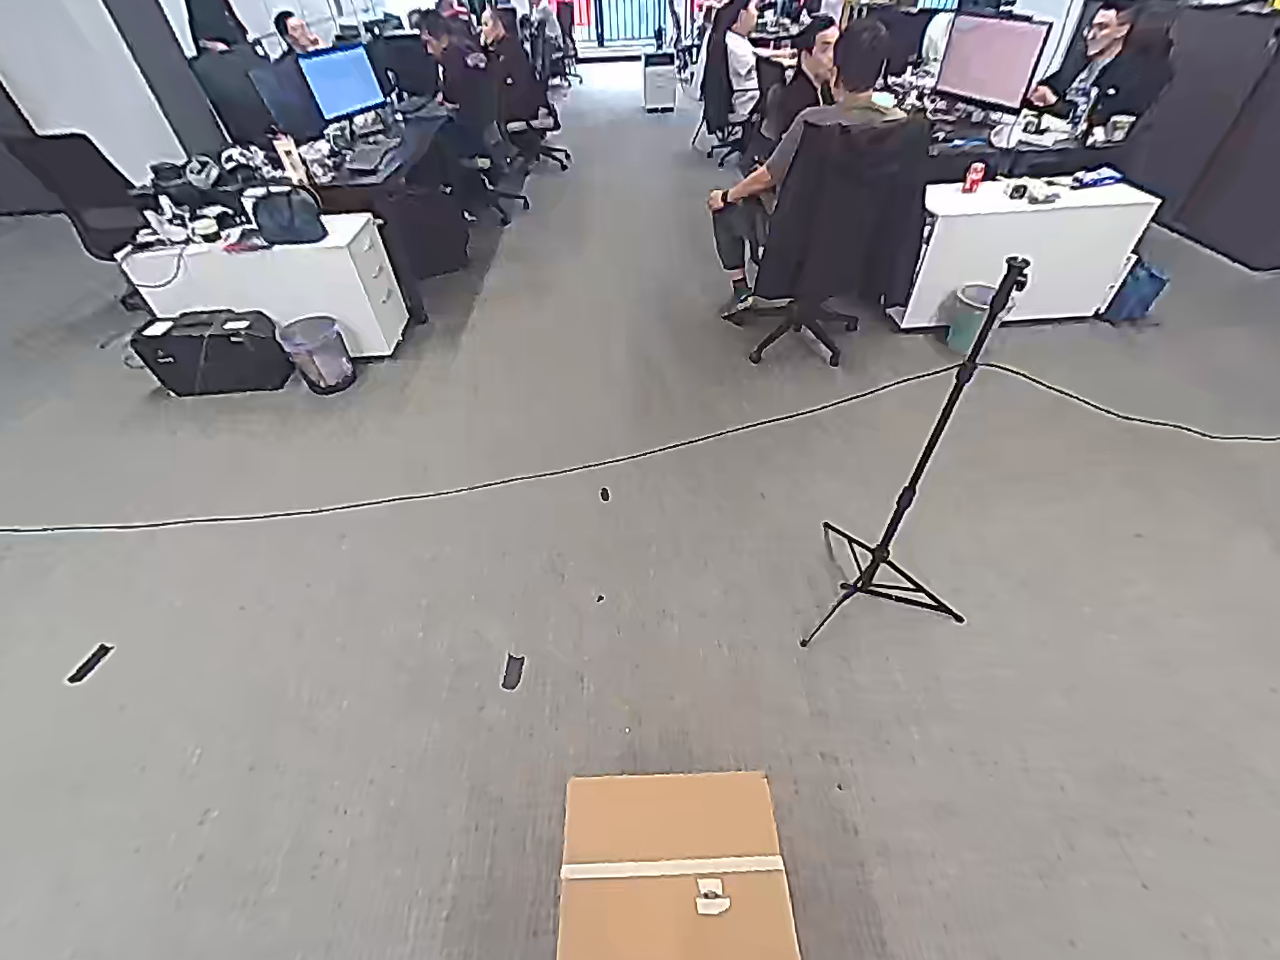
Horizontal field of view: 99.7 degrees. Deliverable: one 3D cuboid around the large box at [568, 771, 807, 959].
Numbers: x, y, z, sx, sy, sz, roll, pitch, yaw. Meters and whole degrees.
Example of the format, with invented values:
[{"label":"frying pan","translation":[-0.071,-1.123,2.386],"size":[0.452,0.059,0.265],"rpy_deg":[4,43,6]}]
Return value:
[{"label":"large box","translation":[0.076,0.814,1.092],"size":[0.408,0.320,0.320],"rpy_deg":[-2,45,0]}]
